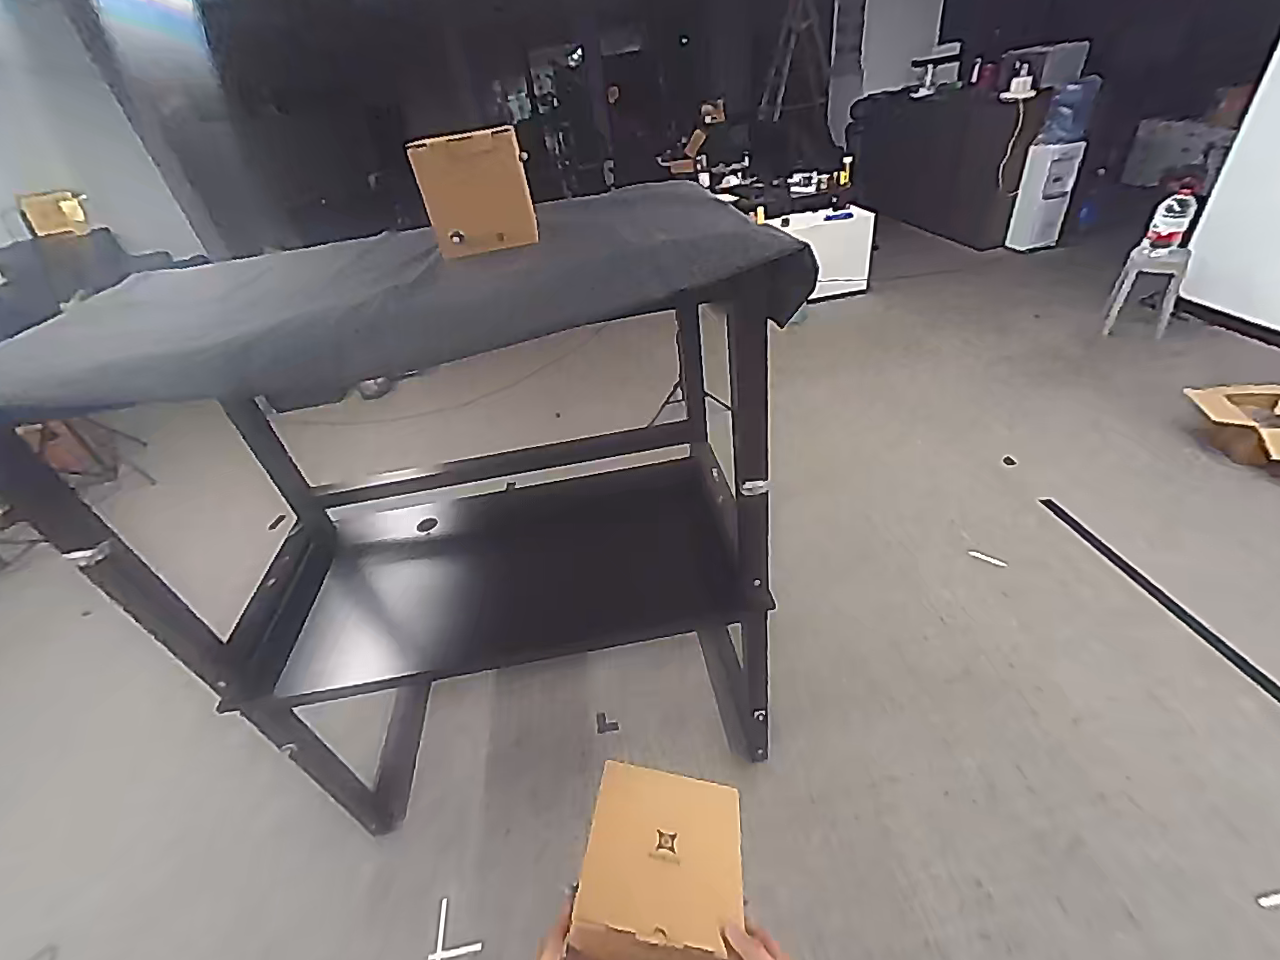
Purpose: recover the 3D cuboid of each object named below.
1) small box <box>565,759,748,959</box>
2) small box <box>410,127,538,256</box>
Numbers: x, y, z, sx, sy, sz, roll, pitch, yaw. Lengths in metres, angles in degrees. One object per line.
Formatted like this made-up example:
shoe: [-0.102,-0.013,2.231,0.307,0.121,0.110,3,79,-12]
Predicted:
small box: [0.016,0.459,0.604,0.168,0.176,0.179,11,24,2]
small box: [-0.278,-0.504,0.950,0.168,0.176,0.179,-12,36,-3]
